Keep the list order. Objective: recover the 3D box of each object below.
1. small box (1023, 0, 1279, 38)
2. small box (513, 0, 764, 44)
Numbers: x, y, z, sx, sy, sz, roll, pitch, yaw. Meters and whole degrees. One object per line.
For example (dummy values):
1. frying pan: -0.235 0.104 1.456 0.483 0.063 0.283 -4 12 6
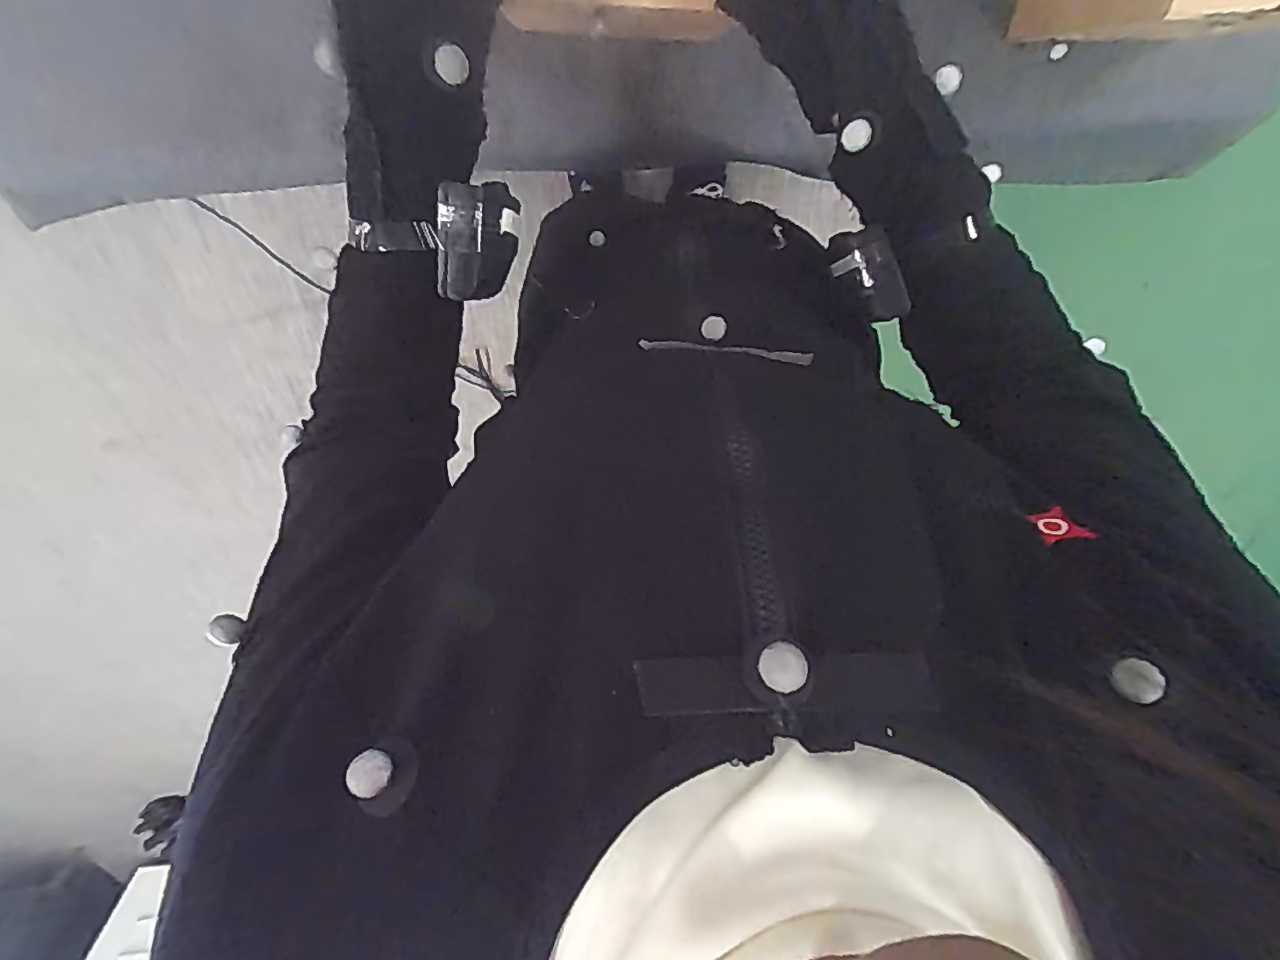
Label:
1. small box: 0.412 -0.420 0.370 0.168 0.176 0.179 -4 124 -3
2. small box: -0.009 -0.400 0.340 0.168 0.176 0.179 -1 124 -5
